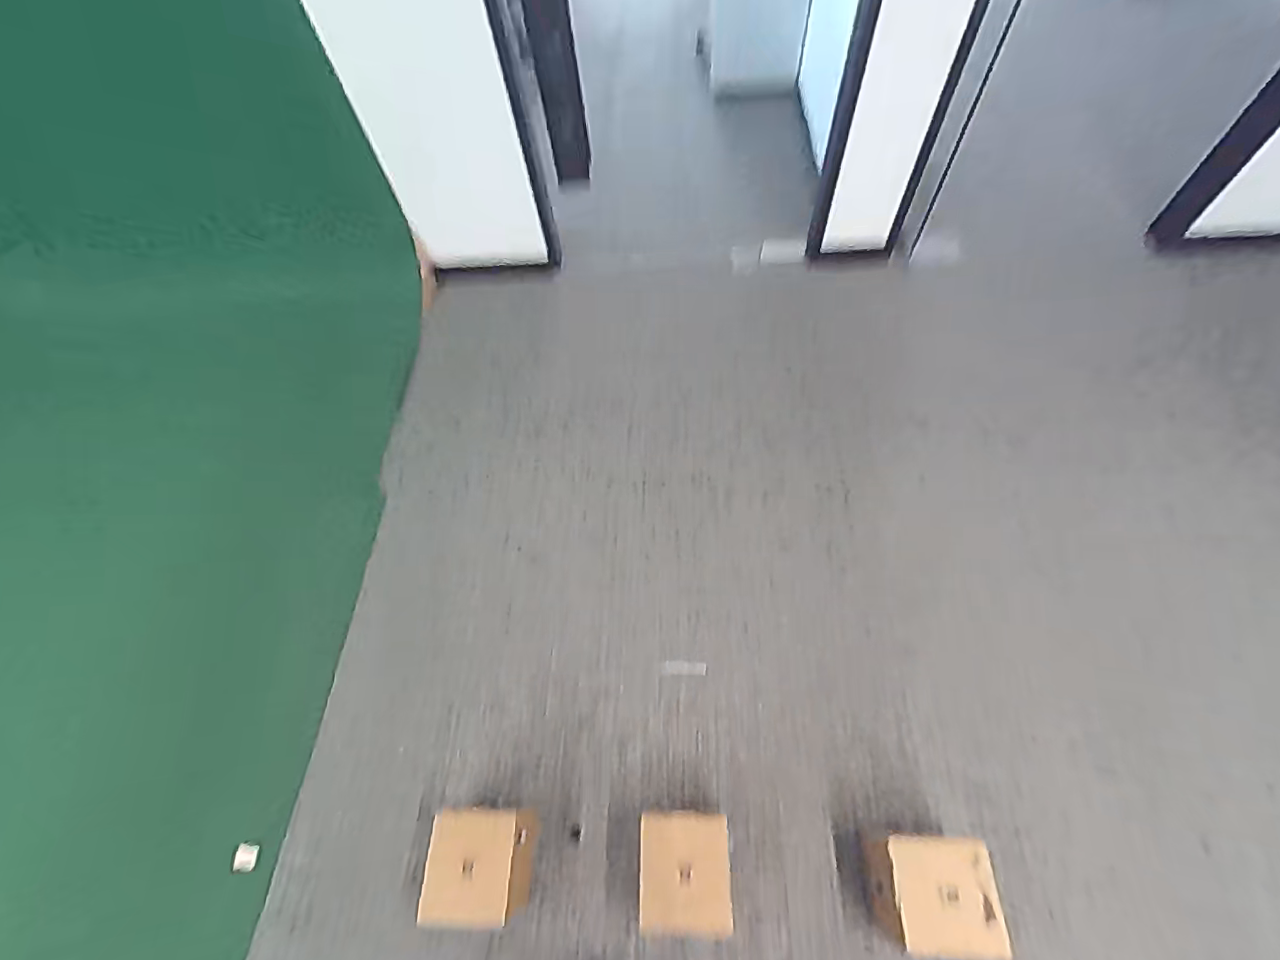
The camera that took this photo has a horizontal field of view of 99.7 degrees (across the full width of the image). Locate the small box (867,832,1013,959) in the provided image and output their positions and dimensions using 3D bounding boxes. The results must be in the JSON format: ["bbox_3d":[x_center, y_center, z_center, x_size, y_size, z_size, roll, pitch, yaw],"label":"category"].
[{"bbox_3d":[0.535,0.757,0.999,0.179,0.176,0.168,0,60,4],"label":"small box"}]

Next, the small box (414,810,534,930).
[{"bbox_3d":[-0.314,0.755,1.064,0.168,0.176,0.179,-1,59,4],"label":"small box"}]

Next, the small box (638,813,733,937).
[{"bbox_3d":[0.085,0.747,1.040,0.168,0.176,0.179,-1,60,4],"label":"small box"}]
